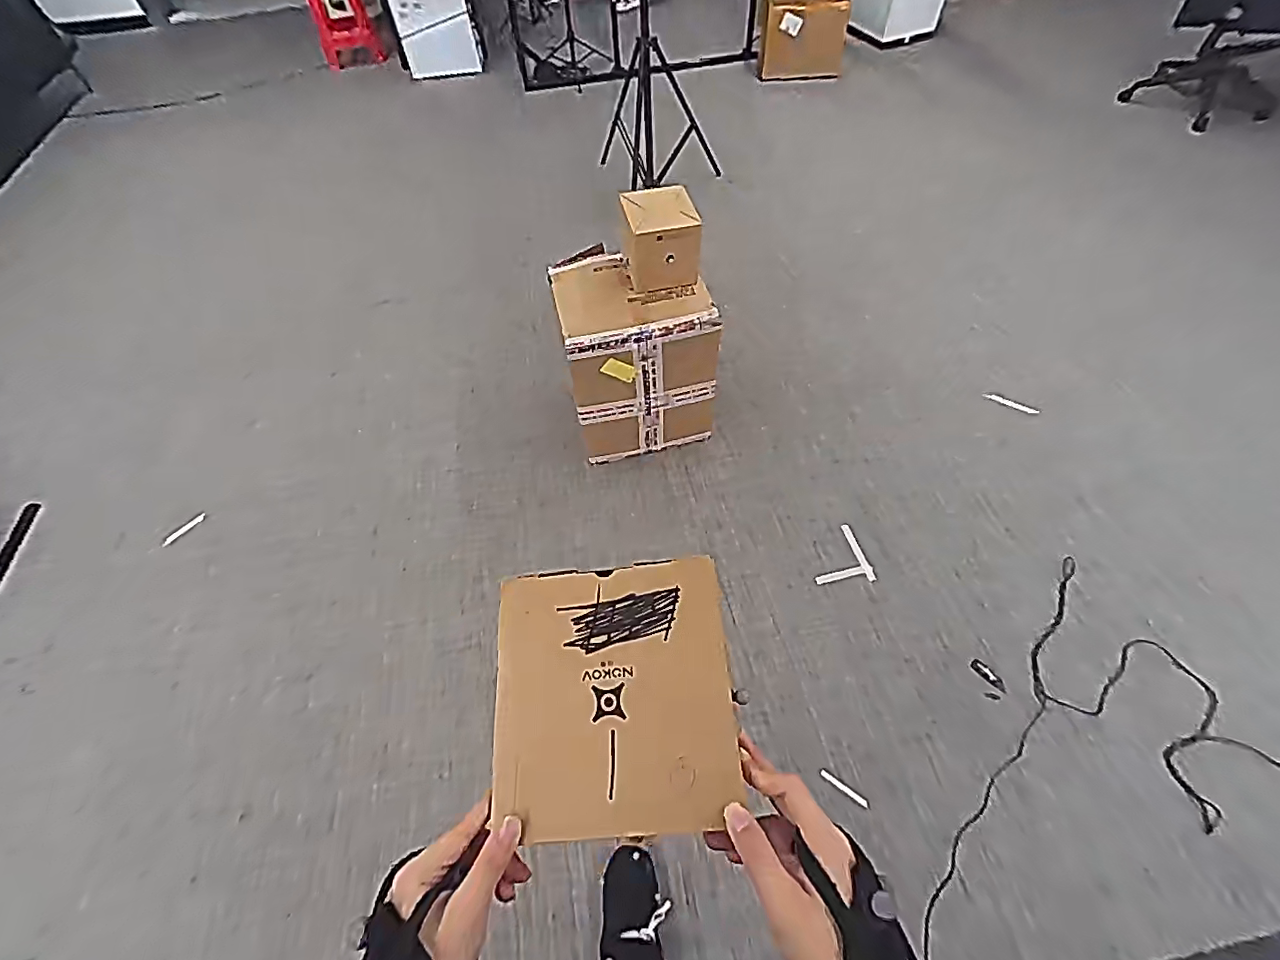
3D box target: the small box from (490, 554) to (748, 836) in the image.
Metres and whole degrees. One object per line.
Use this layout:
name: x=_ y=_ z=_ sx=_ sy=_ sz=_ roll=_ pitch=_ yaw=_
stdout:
small box: x=-0.009 y=0.176 z=0.445 sx=0.168 sy=0.176 sz=0.179 roll=-7 pitch=64 yaw=6

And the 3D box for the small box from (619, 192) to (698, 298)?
small box: x=0.043 y=-0.594 z=1.364 sx=0.168 sy=0.176 sz=0.179 roll=-12 pitch=58 yaw=-8
